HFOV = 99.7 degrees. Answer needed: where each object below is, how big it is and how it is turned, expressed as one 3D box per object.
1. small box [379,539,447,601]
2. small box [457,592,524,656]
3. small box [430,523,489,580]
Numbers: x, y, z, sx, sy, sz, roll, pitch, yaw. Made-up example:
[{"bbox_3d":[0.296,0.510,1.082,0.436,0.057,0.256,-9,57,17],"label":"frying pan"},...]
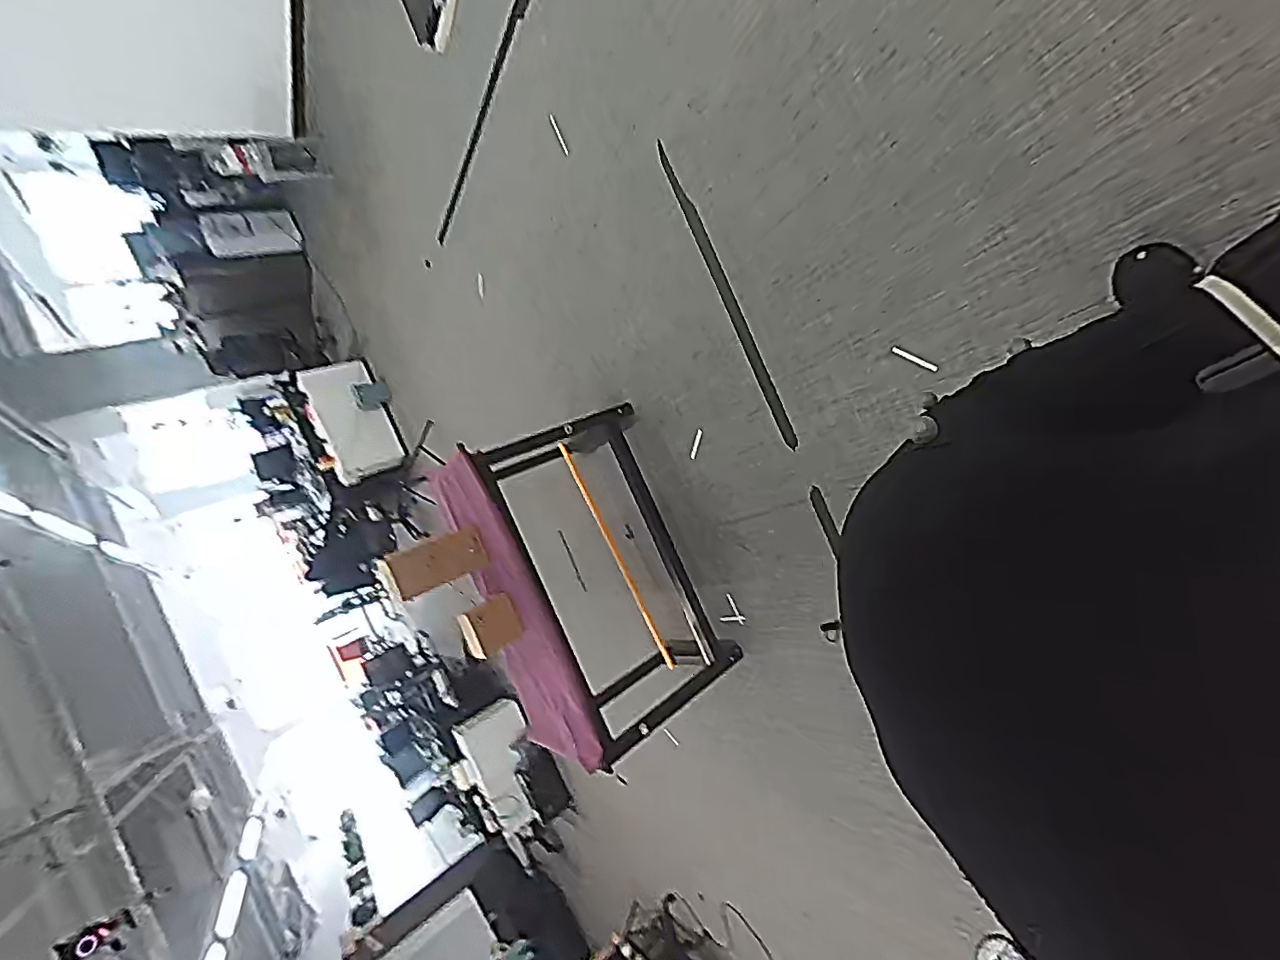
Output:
[{"bbox_3d":[-0.825,0.327,1.968,0.179,0.176,0.168,-18,96,55],"label":"small box"},{"bbox_3d":[-0.561,0.542,2.042,0.168,0.176,0.179,-24,89,56],"label":"small box"},{"bbox_3d":[-0.700,0.273,2.062,0.179,0.176,0.168,-18,96,55],"label":"small box"}]
